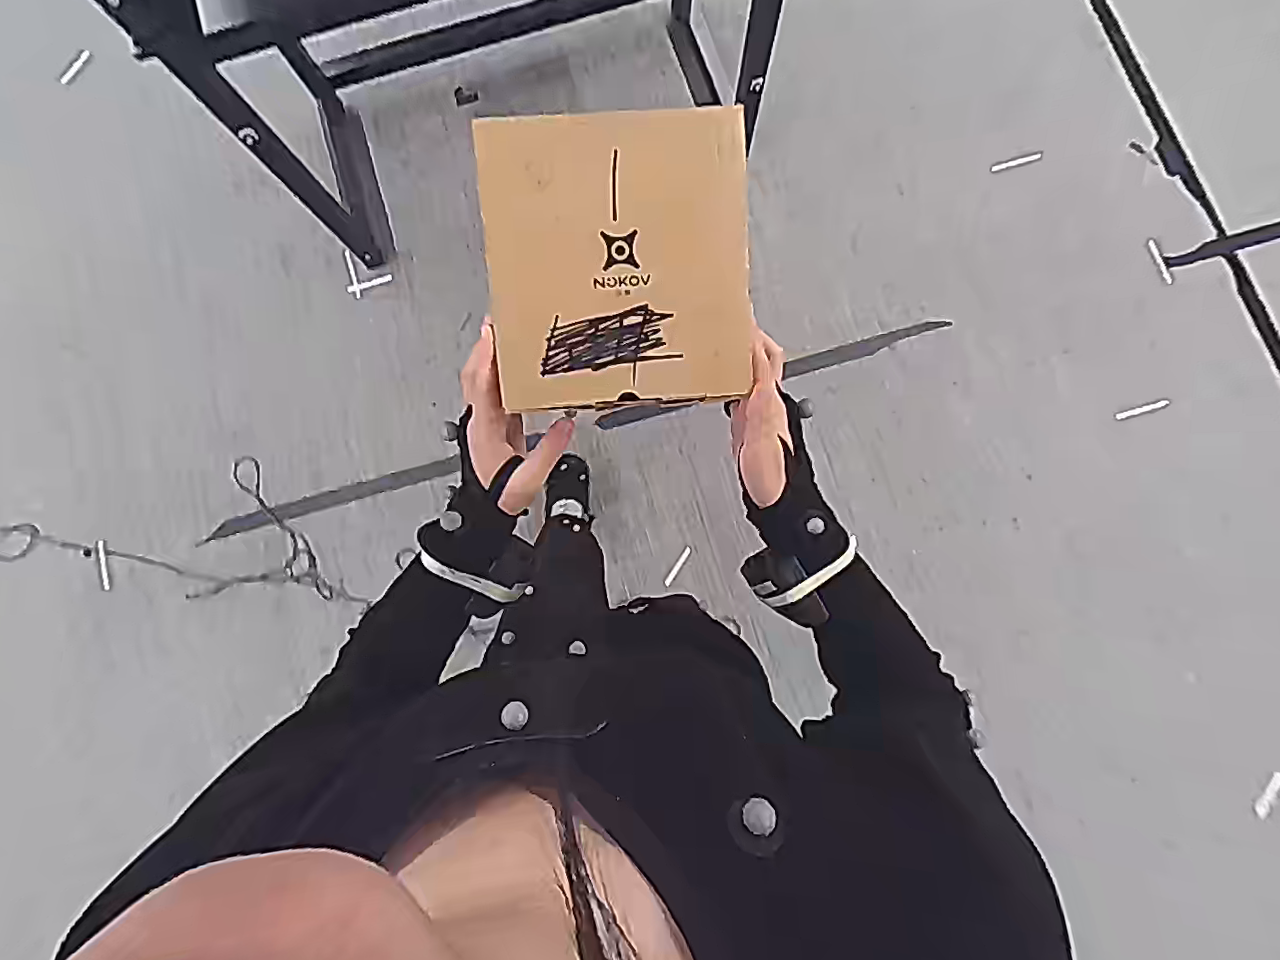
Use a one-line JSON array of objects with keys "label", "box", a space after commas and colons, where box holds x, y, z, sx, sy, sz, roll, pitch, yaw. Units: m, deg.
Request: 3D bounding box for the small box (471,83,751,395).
[{"label": "small box", "box": [-0.016, -0.159, 0.408, 0.168, 0.176, 0.179, -3, 101, -2]}]
